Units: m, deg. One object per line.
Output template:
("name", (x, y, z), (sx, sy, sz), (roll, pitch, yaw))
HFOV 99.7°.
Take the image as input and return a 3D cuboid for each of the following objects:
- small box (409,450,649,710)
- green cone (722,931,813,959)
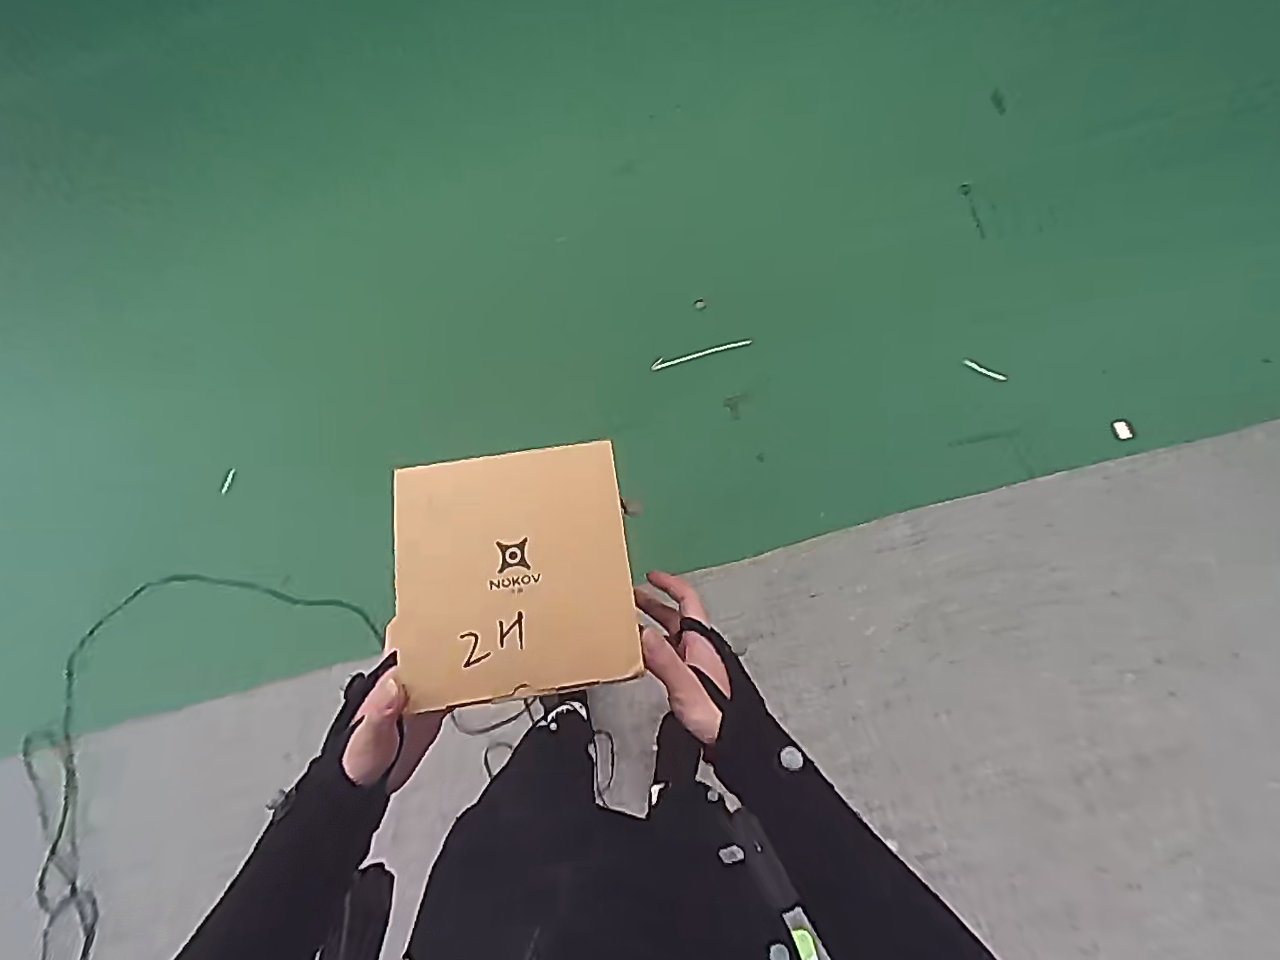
("small box", (-0.085, 0.090, 0.469), (0.168, 0.176, 0.179), (-7, 73, -2))
("green cone", (0.274, 1.082, 1.038), (0.202, 0.368, 0.200), (-16, 71, 4))
